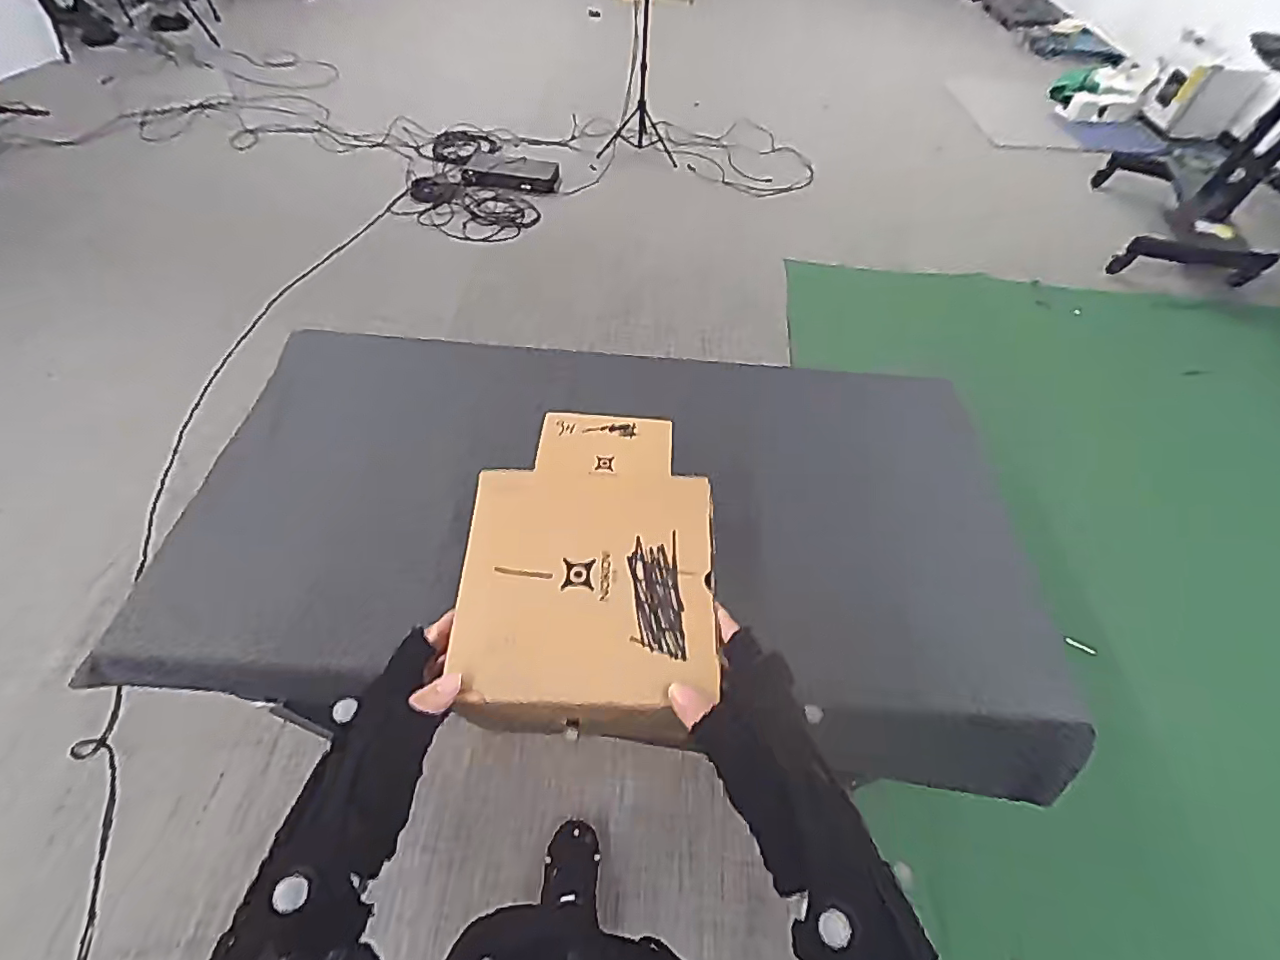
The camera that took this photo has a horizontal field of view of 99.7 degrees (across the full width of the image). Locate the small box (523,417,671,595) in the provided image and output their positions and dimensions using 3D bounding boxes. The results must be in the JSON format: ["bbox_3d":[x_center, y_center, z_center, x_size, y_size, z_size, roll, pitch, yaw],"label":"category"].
[{"bbox_3d":[-0.047,0.039,0.714,0.168,0.176,0.179,3,54,0],"label":"small box"}]
